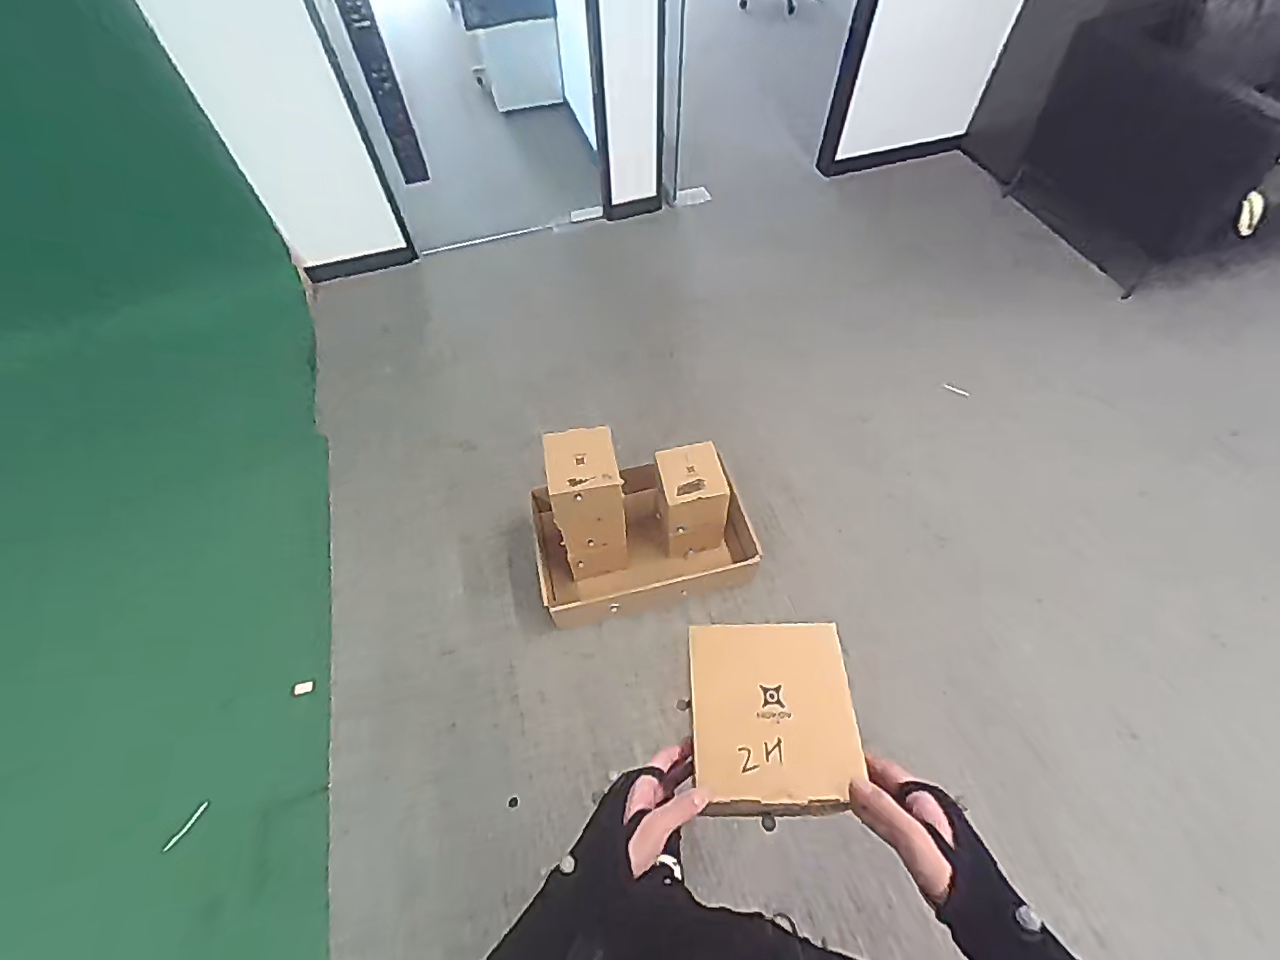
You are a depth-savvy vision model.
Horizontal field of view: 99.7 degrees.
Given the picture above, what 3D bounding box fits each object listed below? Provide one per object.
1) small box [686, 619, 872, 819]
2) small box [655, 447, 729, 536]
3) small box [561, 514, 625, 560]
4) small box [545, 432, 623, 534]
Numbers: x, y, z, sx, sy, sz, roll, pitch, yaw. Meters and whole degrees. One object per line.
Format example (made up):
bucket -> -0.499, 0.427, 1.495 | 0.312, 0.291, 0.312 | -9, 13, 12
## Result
small box -> 0.138, 0.273, 0.615 | 0.168, 0.176, 0.179 | -1, 54, 3
small box -> 0.140, 0.040, 1.487 | 0.168, 0.176, 0.179 | -11, 56, -4
small box -> -0.136, 0.093, 1.459 | 0.168, 0.176, 0.179 | -11, 56, -7
small box -> -0.136, 0.009, 1.317 | 0.168, 0.176, 0.179 | -9, 55, -6
